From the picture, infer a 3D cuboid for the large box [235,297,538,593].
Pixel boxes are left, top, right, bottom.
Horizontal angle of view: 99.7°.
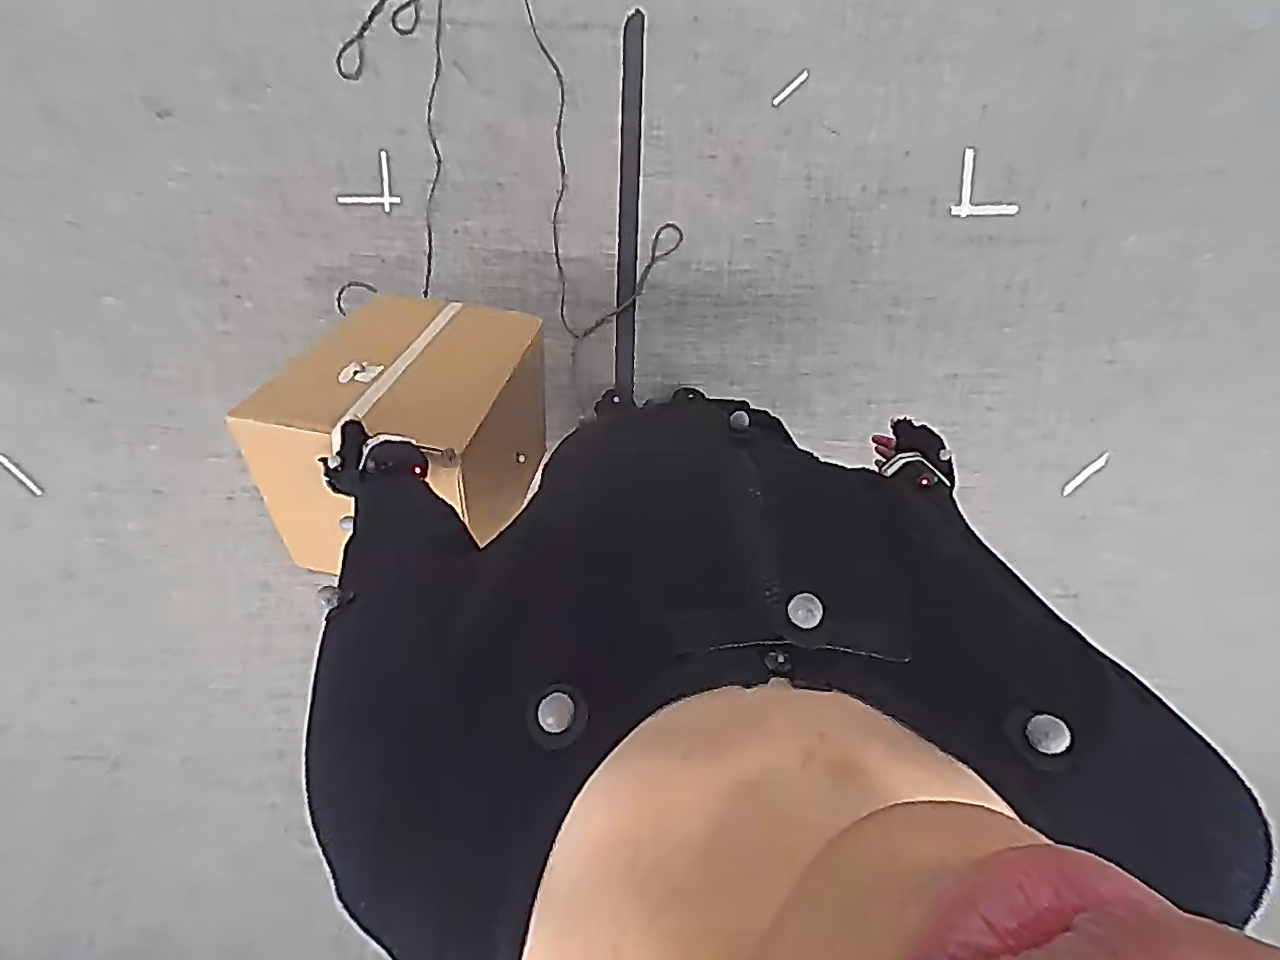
[{"bbox_3d":[-0.377,-0.073,0.950,0.320,0.408,0.320,9,133,2],"label":"large box"}]
